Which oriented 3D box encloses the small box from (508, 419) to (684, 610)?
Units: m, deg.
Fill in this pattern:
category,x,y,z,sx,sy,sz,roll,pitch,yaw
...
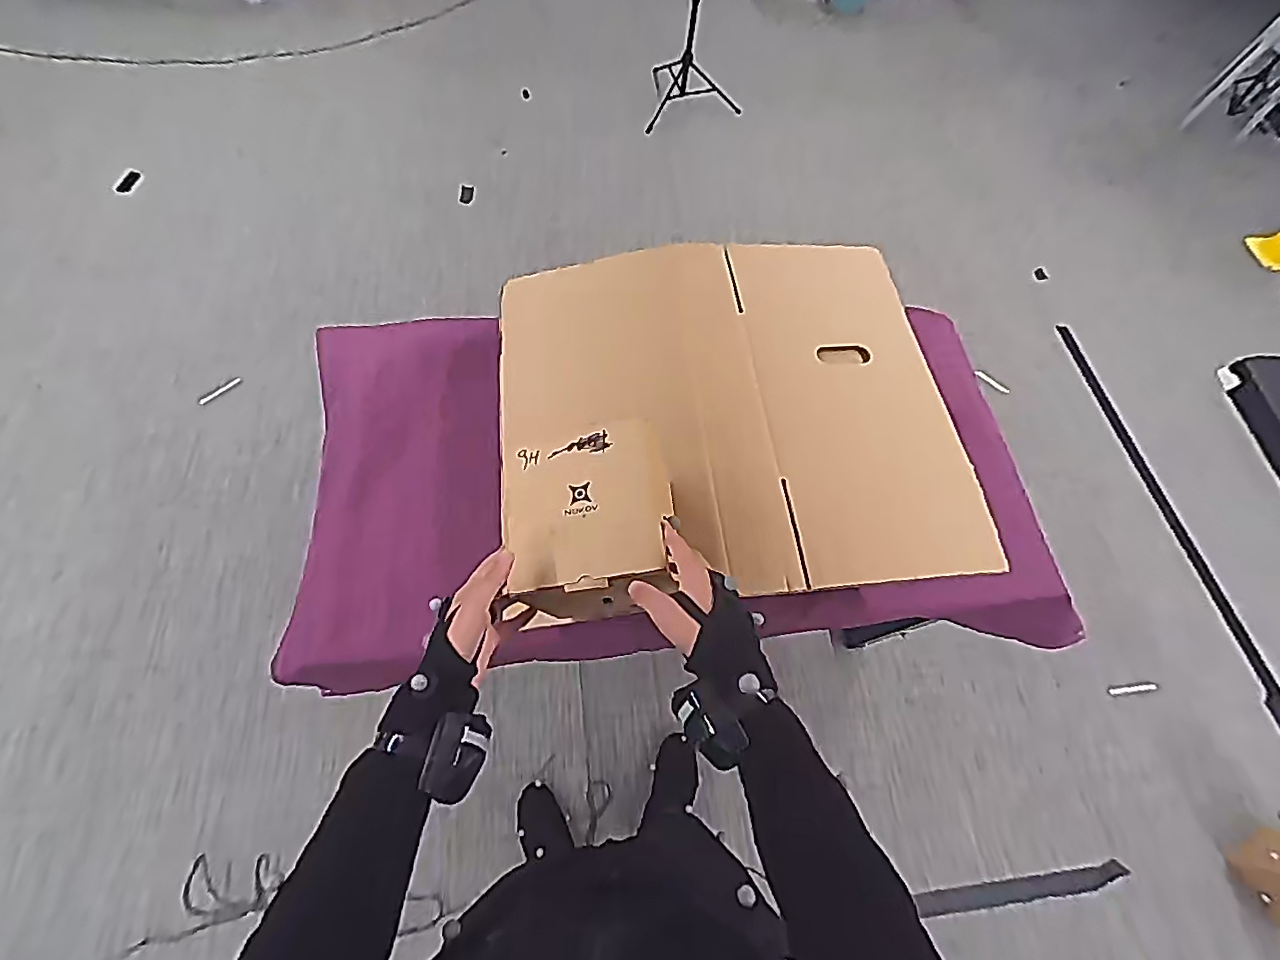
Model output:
category,x,y,z,sx,sy,sz,roll,pitch,yaw
small box,-0.045,0.053,0.639,0.168,0.176,0.179,-9,67,7
